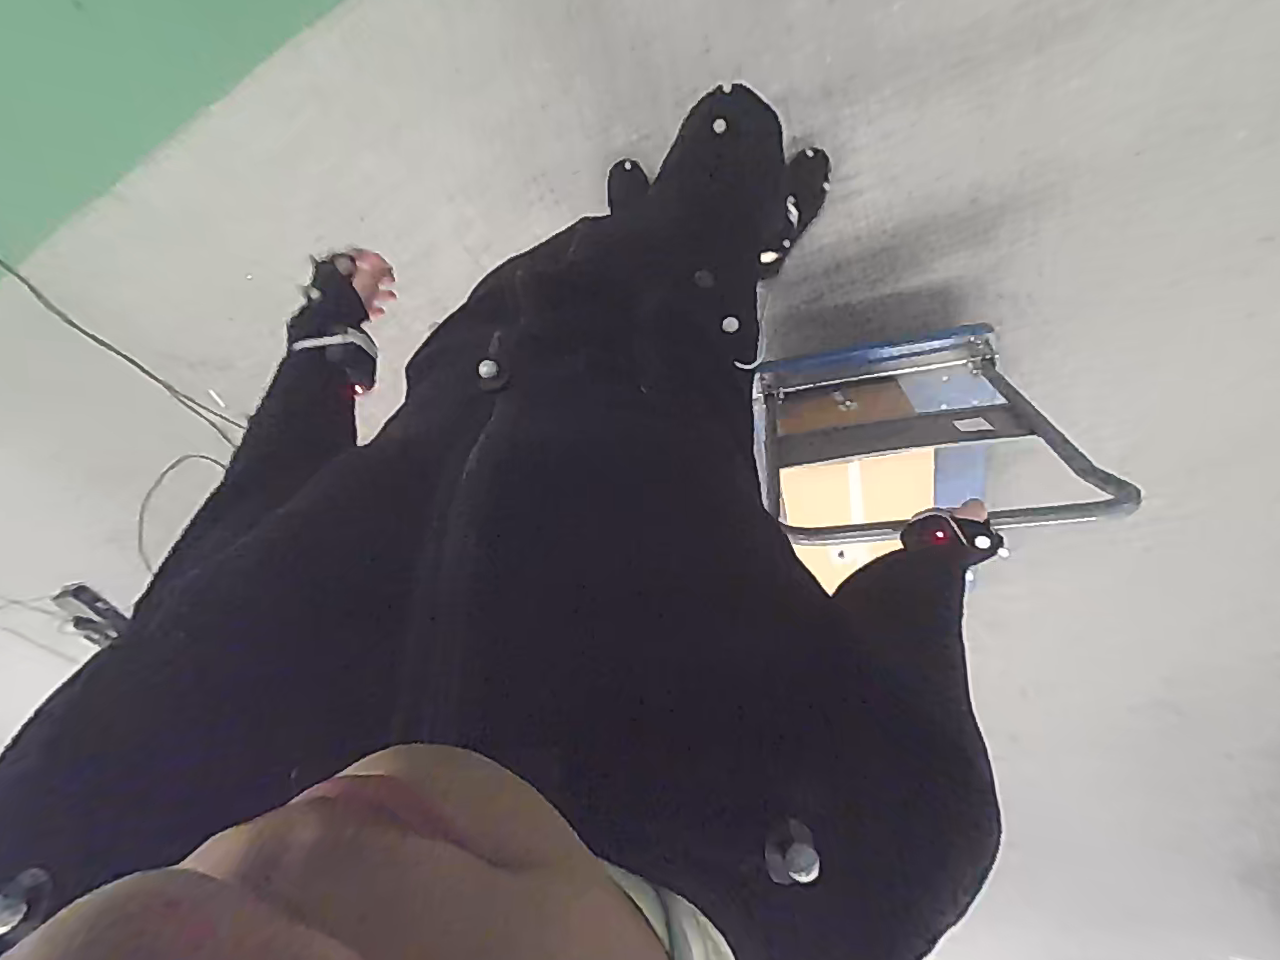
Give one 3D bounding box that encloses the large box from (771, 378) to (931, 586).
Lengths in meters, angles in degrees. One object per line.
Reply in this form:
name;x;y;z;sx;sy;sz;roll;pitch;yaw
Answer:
large box;0.524;0.008;1.370;0.320;0.320;0.408;-8;124;16
